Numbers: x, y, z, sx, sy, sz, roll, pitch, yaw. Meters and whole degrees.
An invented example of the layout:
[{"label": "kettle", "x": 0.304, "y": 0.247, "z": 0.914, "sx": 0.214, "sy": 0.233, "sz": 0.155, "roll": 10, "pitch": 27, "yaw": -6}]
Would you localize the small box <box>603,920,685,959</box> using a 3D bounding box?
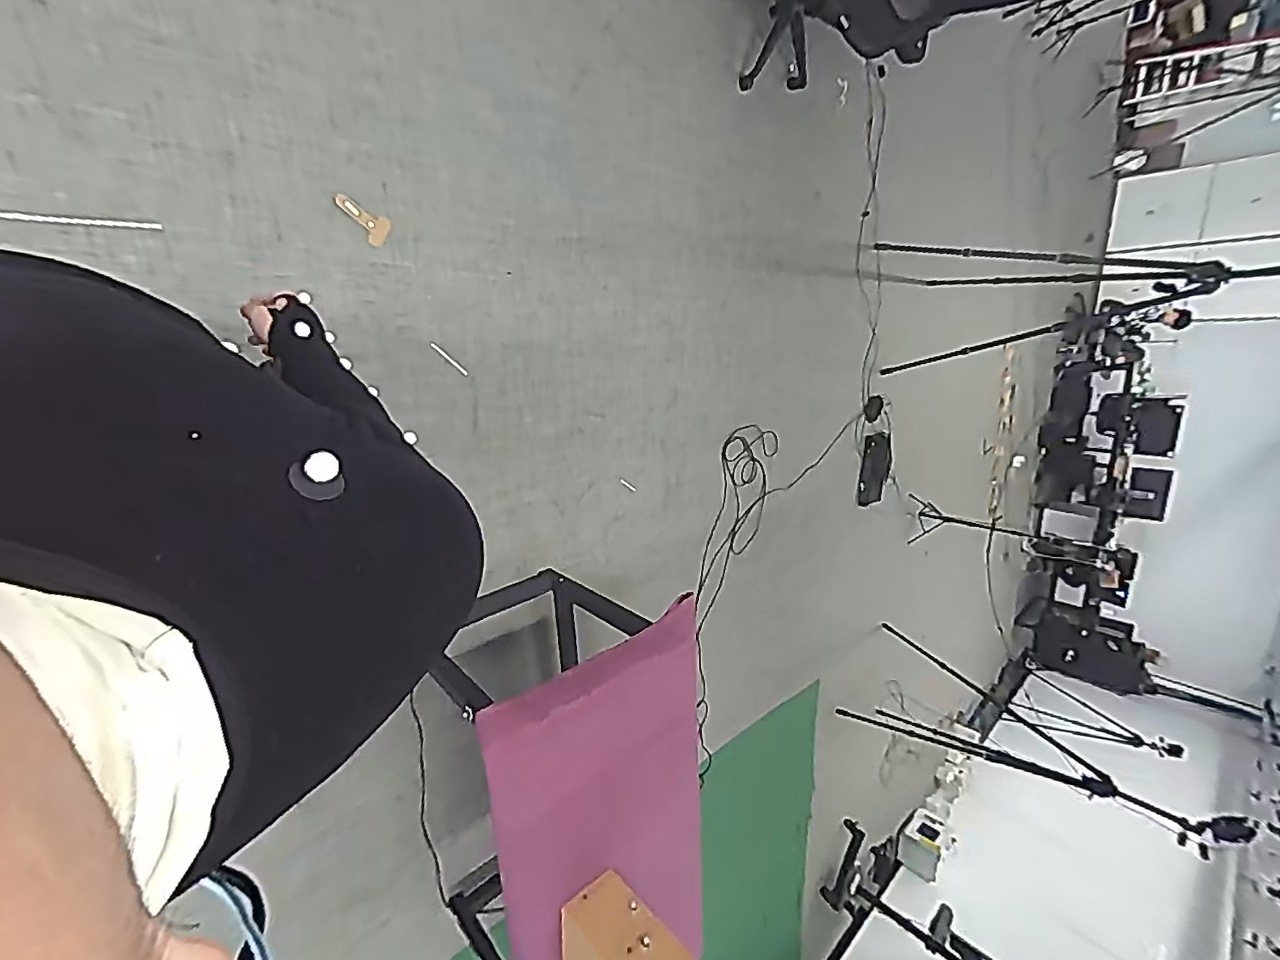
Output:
[{"label": "small box", "x": 0.019, "y": 1.180, "z": 1.238, "sx": 0.168, "sy": 0.176, "sz": 0.179, "roll": -9, "pitch": 106, "yaw": -42}]
